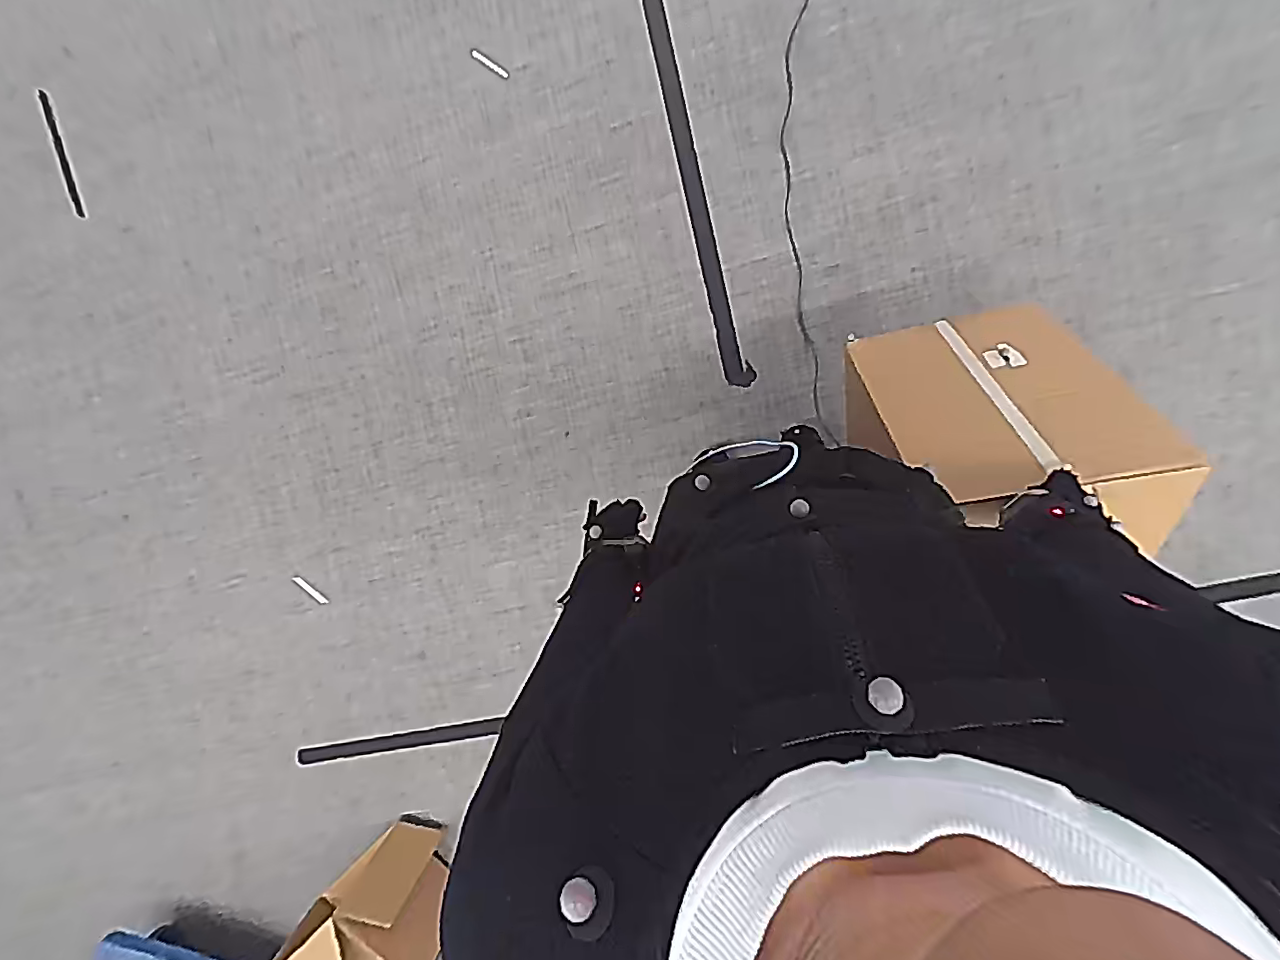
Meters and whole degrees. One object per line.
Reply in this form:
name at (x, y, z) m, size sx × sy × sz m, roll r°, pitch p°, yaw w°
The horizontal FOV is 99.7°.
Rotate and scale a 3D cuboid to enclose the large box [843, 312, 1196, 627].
large box at (0.553, -0.022, 0.909) m, size 0.320 × 0.408 × 0.320 m, roll -9°, pitch 133°, yaw 9°
